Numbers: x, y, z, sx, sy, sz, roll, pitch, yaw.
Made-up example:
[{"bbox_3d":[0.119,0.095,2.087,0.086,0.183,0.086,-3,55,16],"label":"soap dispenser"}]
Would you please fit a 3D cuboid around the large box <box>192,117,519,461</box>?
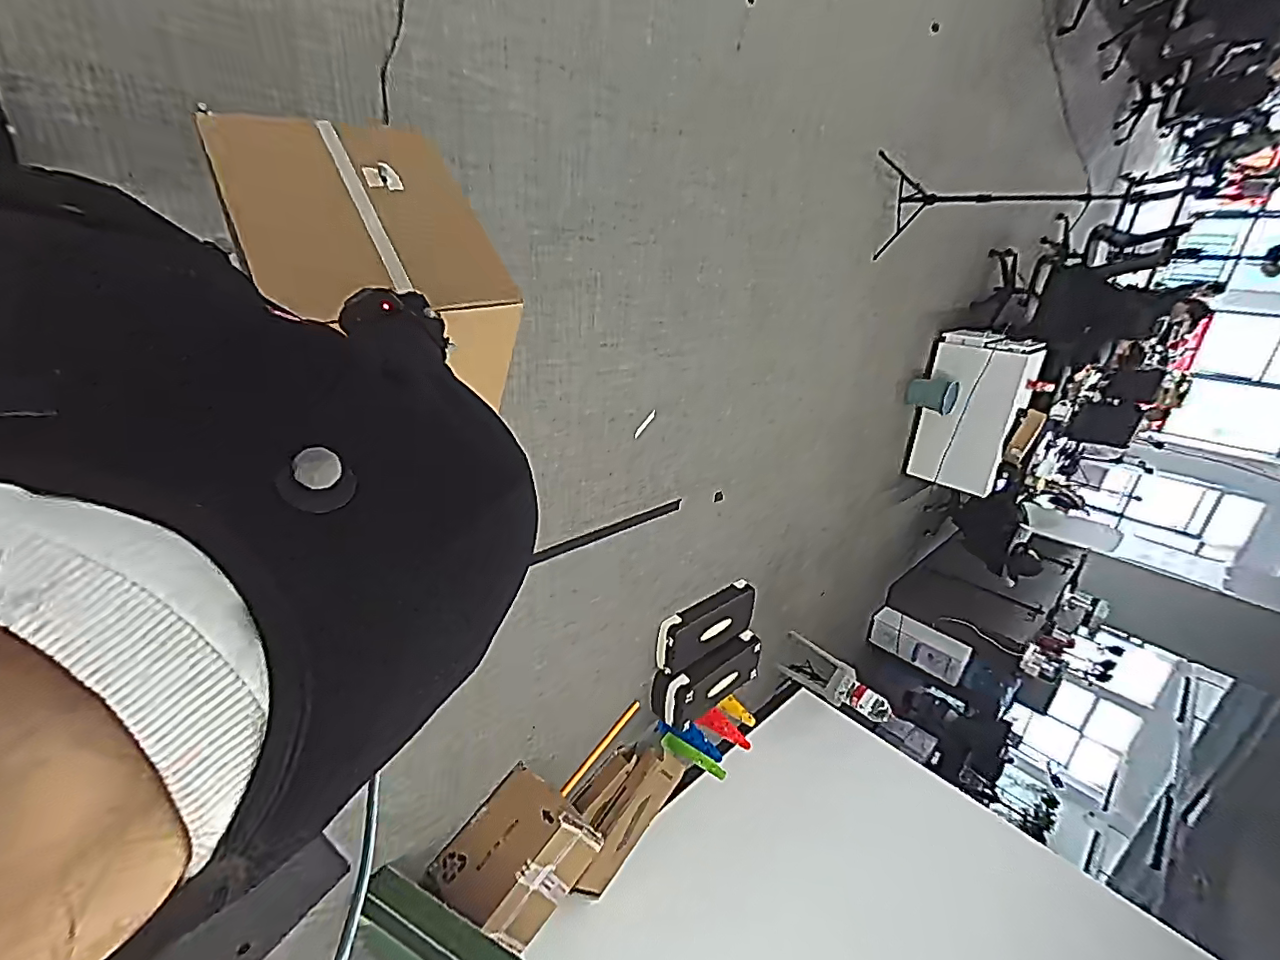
[{"bbox_3d":[-0.444,-0.302,0.877,0.320,0.408,0.320,-19,158,-34],"label":"large box"}]
